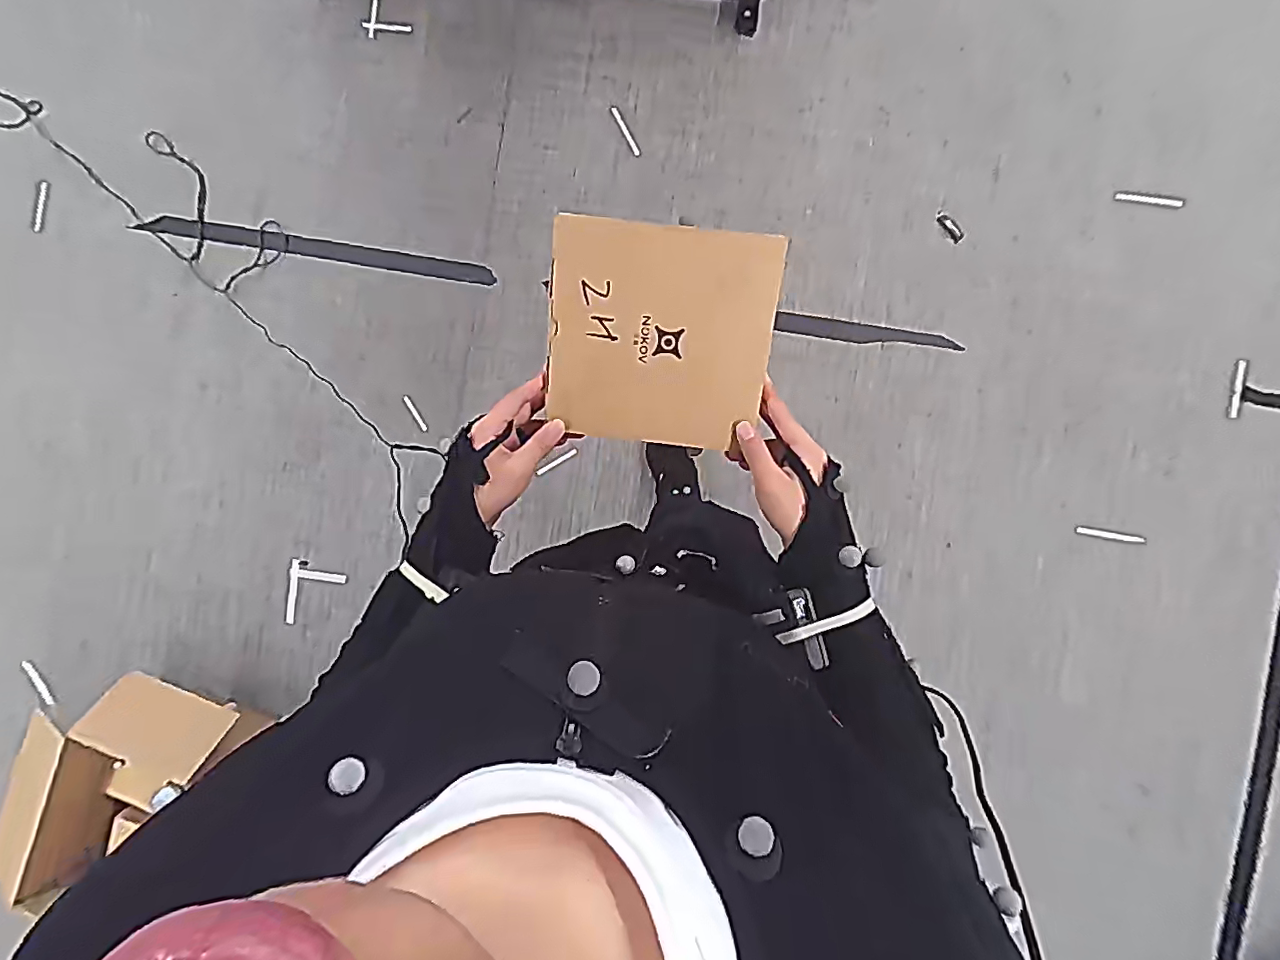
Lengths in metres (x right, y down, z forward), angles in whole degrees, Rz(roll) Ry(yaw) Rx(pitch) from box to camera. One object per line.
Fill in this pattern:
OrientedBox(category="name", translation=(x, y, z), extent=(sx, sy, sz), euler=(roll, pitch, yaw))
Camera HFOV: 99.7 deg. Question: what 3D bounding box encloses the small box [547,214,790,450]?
OrientedBox(category="small box", translation=(0.022, -0.136, 0.500), extent=(0.179, 0.176, 0.168), euler=(7, 108, 2))
